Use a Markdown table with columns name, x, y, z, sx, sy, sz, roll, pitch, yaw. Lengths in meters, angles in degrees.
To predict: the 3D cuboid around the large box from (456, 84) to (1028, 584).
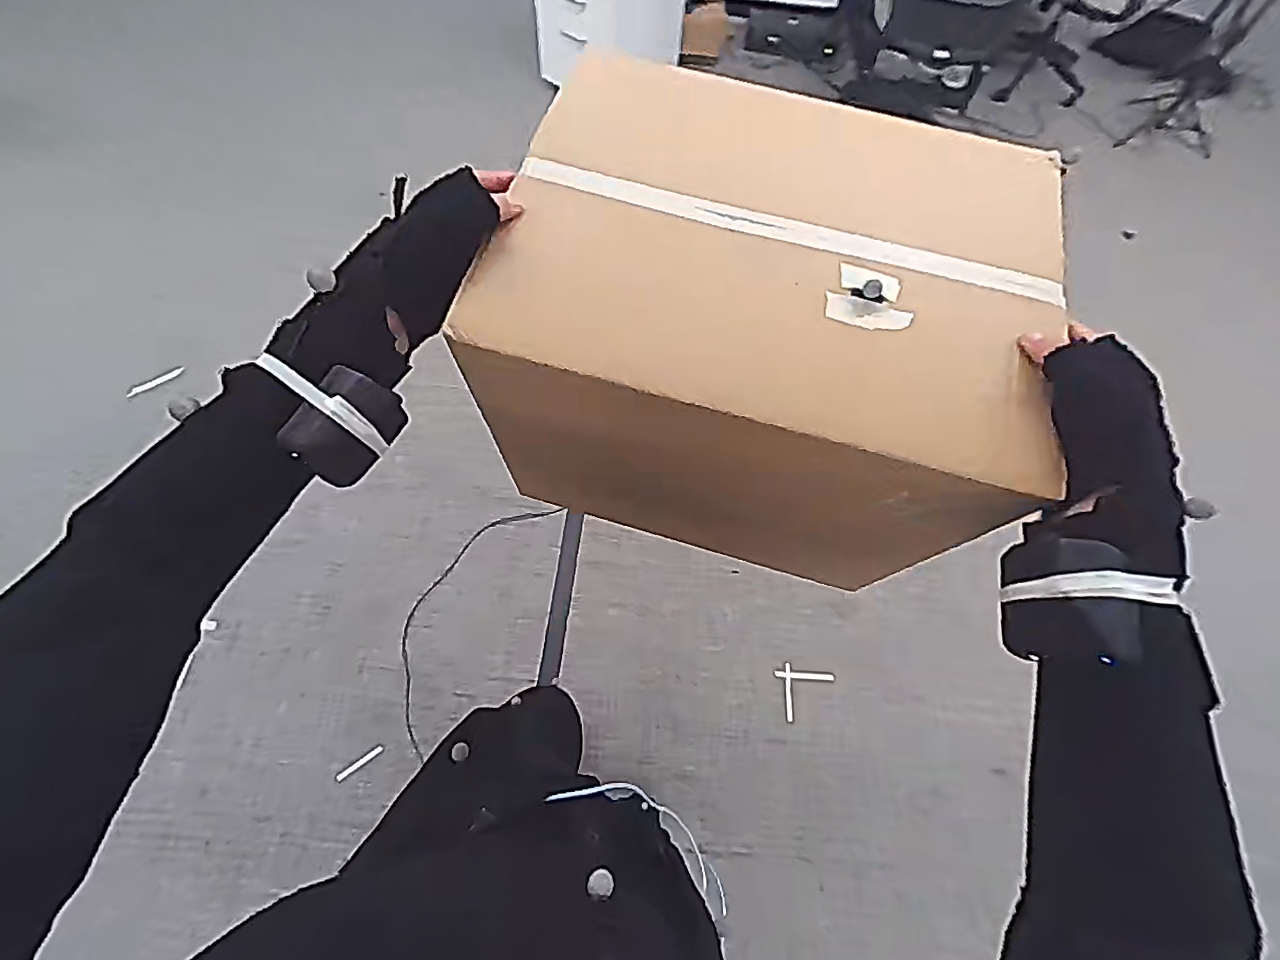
| name | x | y | z | sx | sy | sz | roll | pitch | yaw |
| --- | --- | --- | --- | --- | --- | --- | --- | --- | --- |
| large box | 0.089 | -0.116 | 0.555 | 0.408 | 0.320 | 0.320 | 15 | 69 | 3 |
